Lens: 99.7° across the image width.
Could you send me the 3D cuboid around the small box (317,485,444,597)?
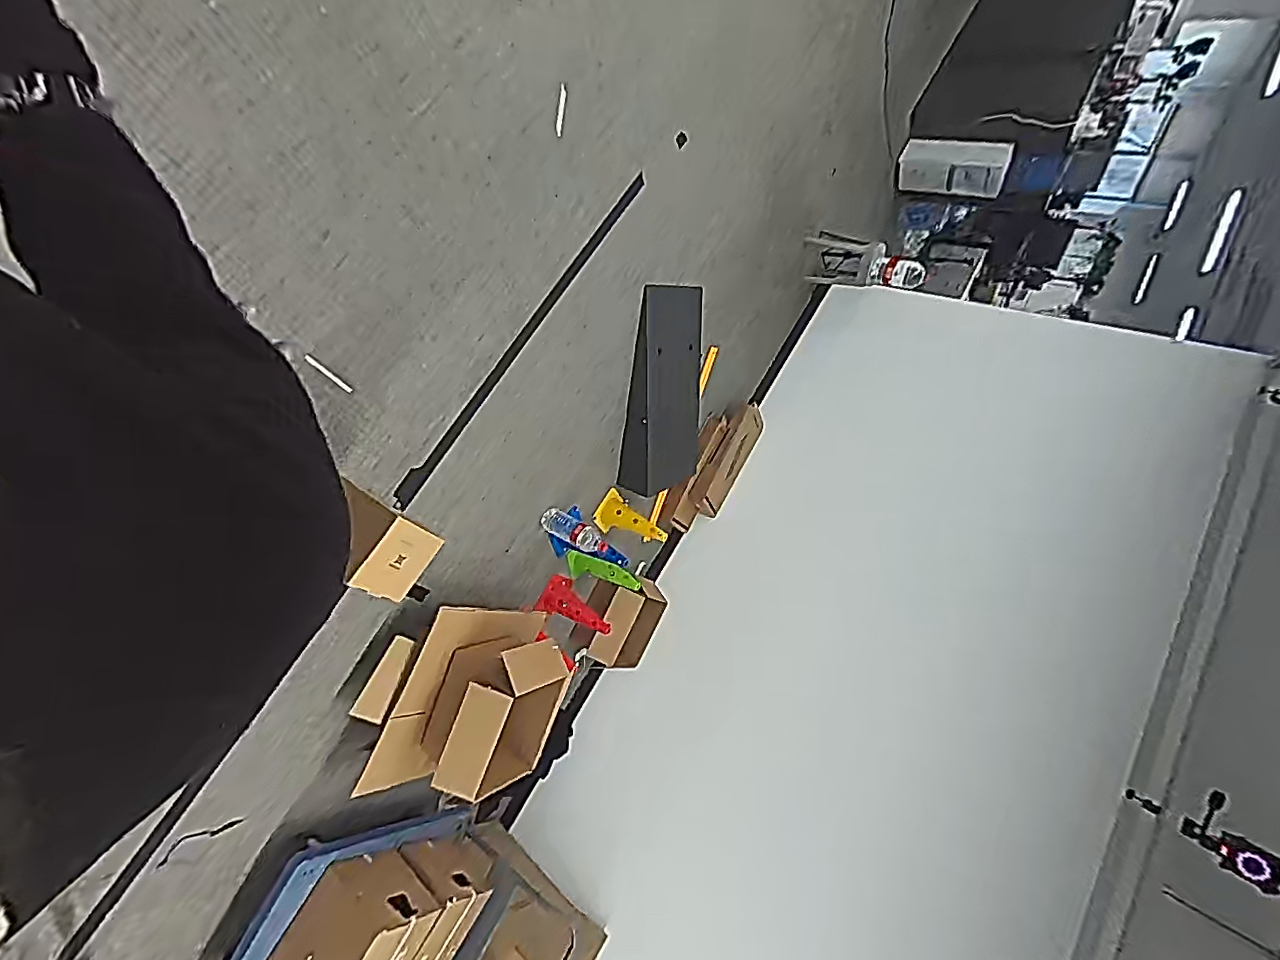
[{"bbox_3d":[-0.603,0.140,1.249,0.179,0.176,0.168,-58,152,-13],"label":"small box"}]
